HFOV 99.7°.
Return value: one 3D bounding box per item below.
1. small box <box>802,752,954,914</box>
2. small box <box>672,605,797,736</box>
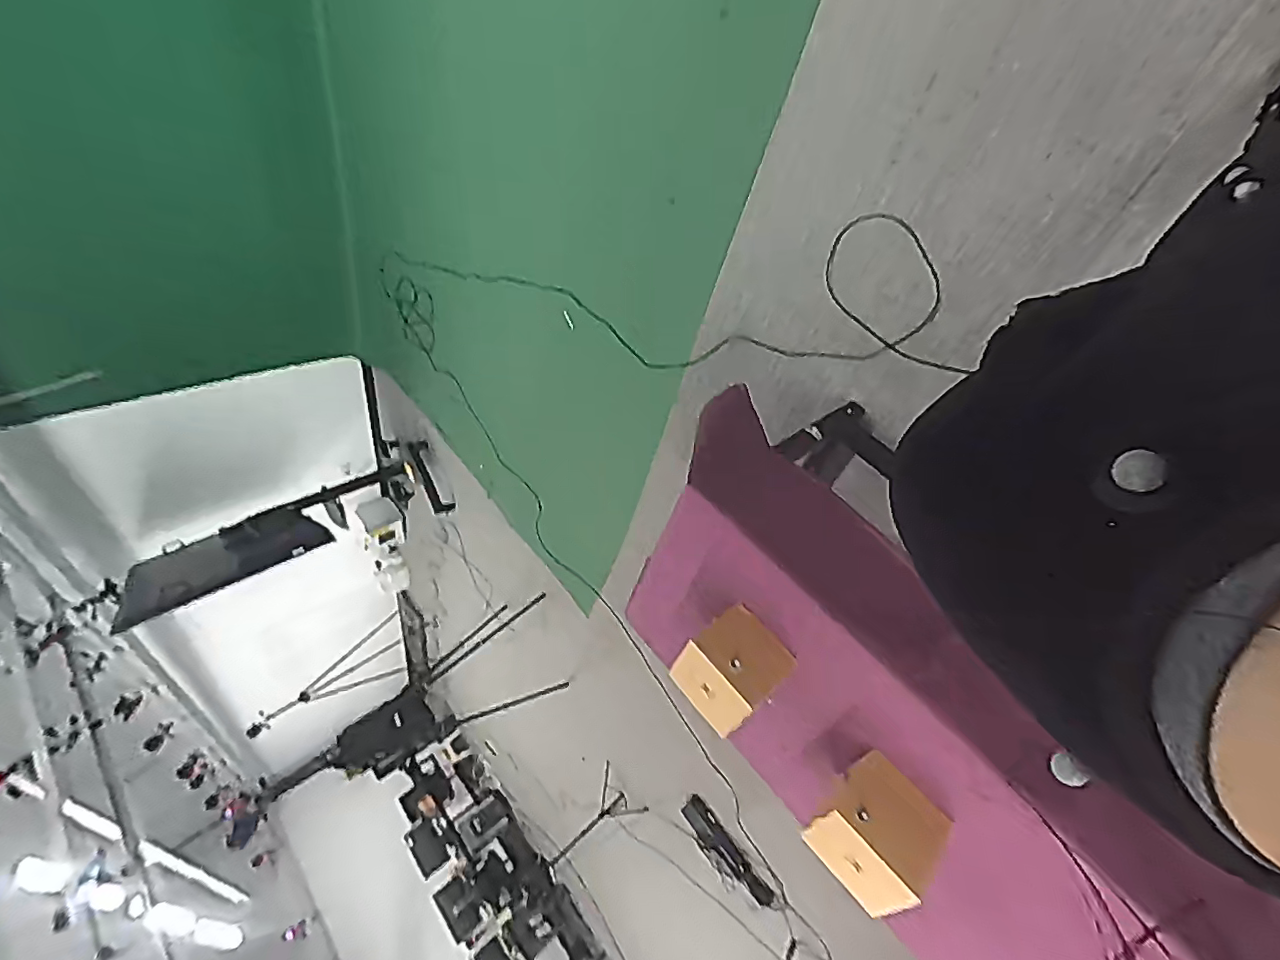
[{"bbox_3d":[0.451,0.664,1.027,0.179,0.176,0.168,43,139,26],"label":"small box"},{"bbox_3d":[0.204,0.405,1.166,0.179,0.176,0.168,46,140,23],"label":"small box"}]
